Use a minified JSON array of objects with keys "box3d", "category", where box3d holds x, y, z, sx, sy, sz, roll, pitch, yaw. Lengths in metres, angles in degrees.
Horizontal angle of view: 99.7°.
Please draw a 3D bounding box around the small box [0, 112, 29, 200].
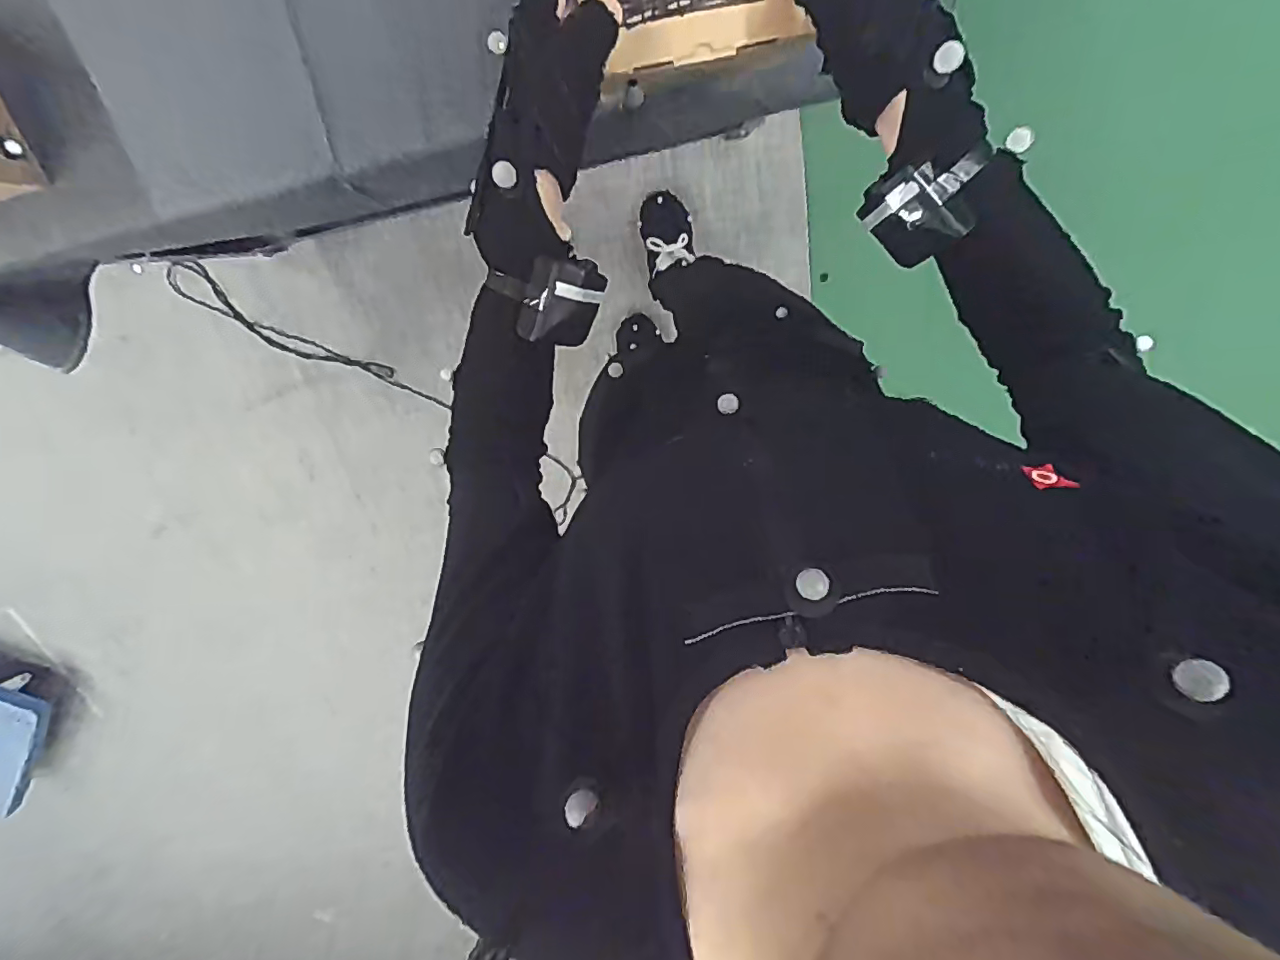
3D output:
[{"box3d":[-0.745,-0.347,0.495,0.179,0.176,0.168,-12,113,3],"category":"small box"}]
